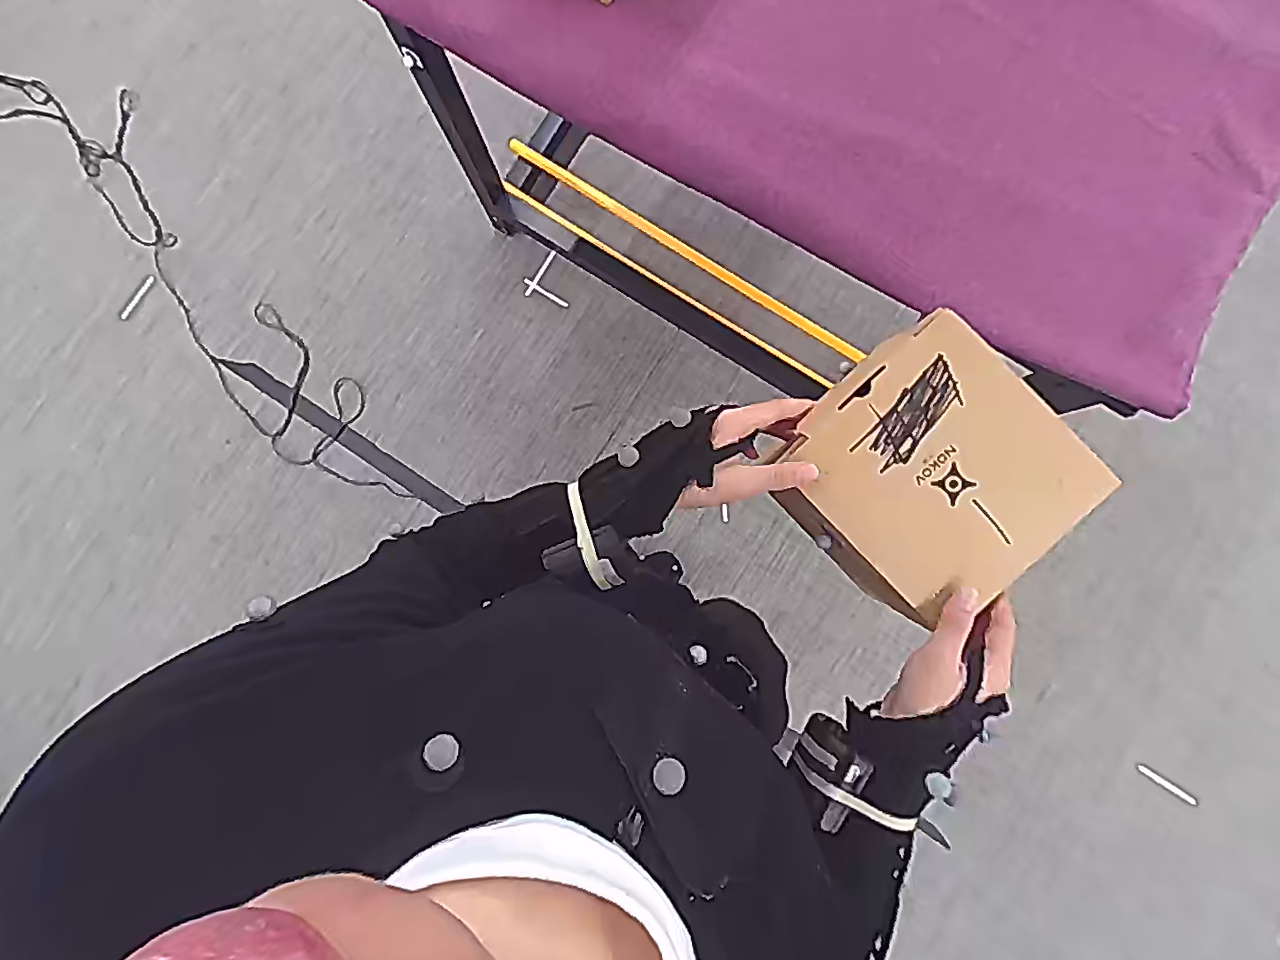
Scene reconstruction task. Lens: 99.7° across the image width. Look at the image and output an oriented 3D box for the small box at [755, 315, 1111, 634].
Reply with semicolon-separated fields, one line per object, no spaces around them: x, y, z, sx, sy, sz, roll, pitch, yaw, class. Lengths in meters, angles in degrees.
0.222;-0.003;0.468;0.168;0.176;0.179;-43;88;3;small box
